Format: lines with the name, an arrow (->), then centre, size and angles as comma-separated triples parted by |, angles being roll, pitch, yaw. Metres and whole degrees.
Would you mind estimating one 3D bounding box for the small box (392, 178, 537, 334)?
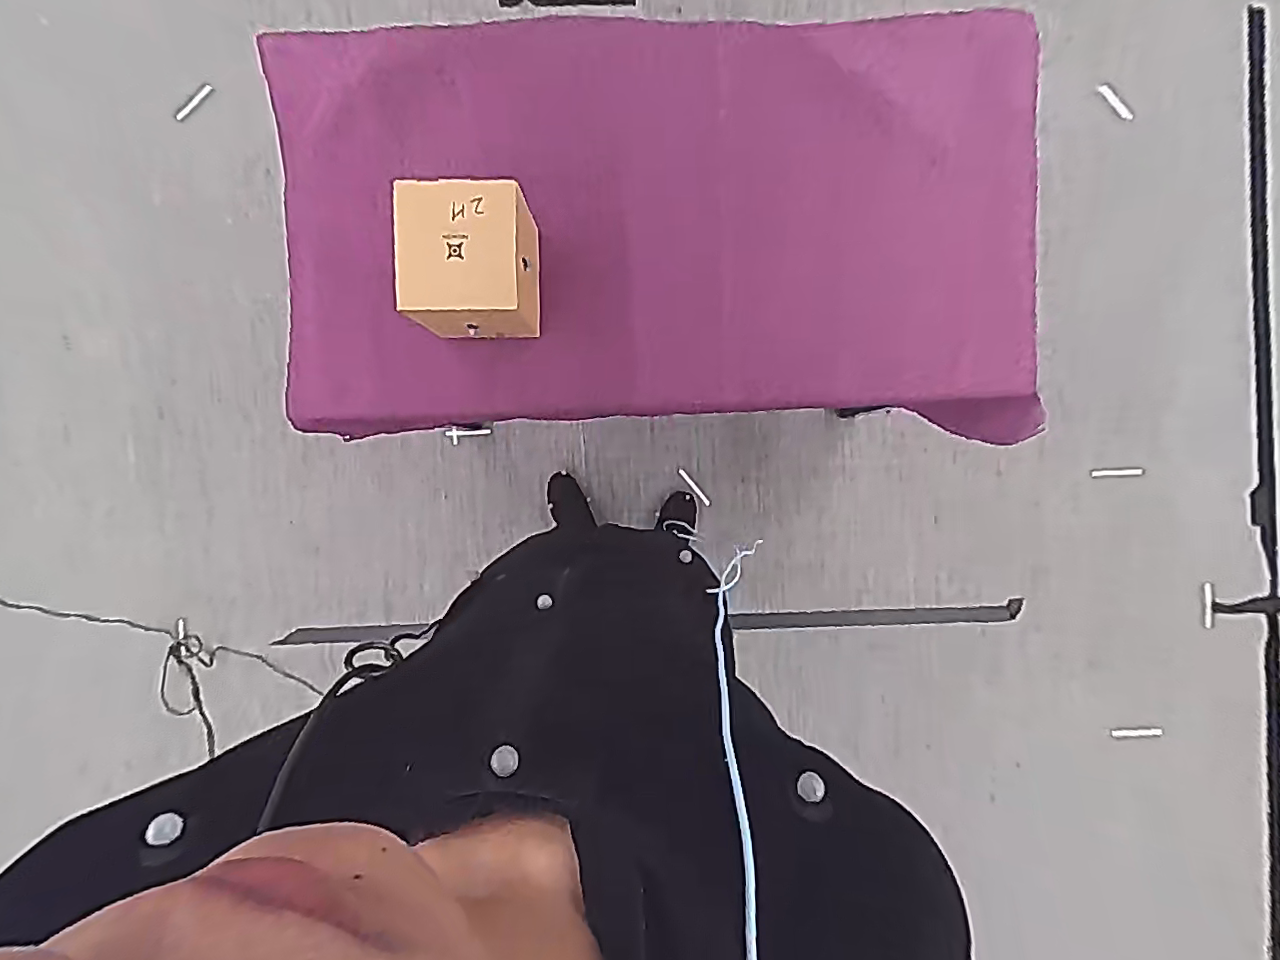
small box -> -0.248, -0.318, 0.802 | 0.168, 0.176, 0.179 | 0, 92, 0
